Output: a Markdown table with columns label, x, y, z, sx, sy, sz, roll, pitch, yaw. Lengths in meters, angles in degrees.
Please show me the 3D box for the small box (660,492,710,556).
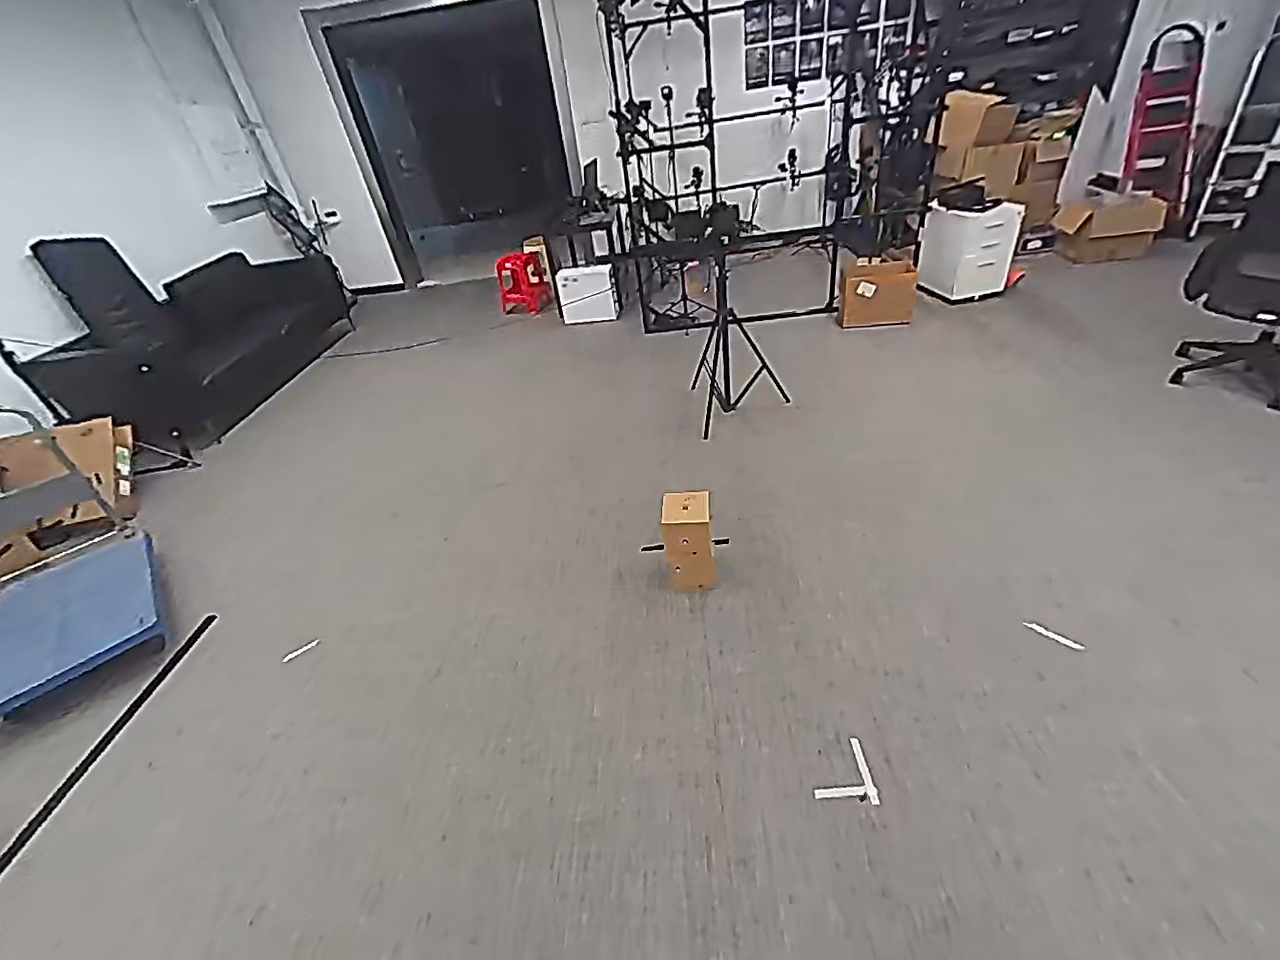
| label | x | y | z | sx | sy | sz | roll | pitch | yaw |
| --- | --- | --- | --- | --- | --- | --- | --- | --- | --- |
| small box | 0.168 | 0.163 | 1.964 | 0.168 | 0.176 | 0.179 | -3 | 35 | 9 |
